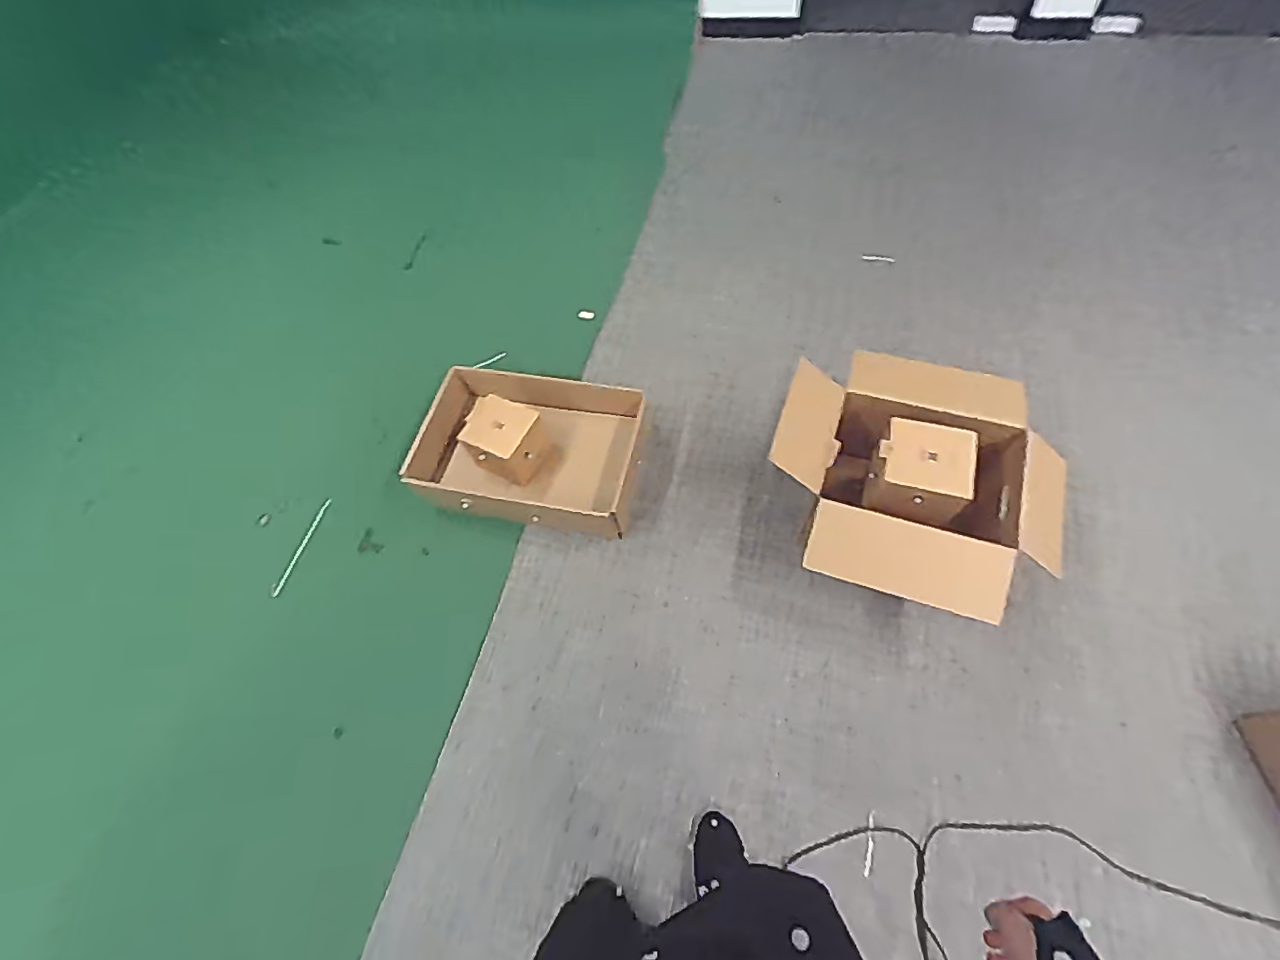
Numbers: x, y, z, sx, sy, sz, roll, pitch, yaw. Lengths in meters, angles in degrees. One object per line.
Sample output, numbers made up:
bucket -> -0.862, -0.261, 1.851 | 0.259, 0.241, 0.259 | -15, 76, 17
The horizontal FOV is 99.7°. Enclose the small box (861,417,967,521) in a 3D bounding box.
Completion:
small box -> 0.624, -0.020, 1.248 | 0.179, 0.176, 0.168 | 13, 67, 12

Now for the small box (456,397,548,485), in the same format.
small box -> -0.389, -0.107, 1.569 | 0.179, 0.176, 0.168 | 21, 66, 16
